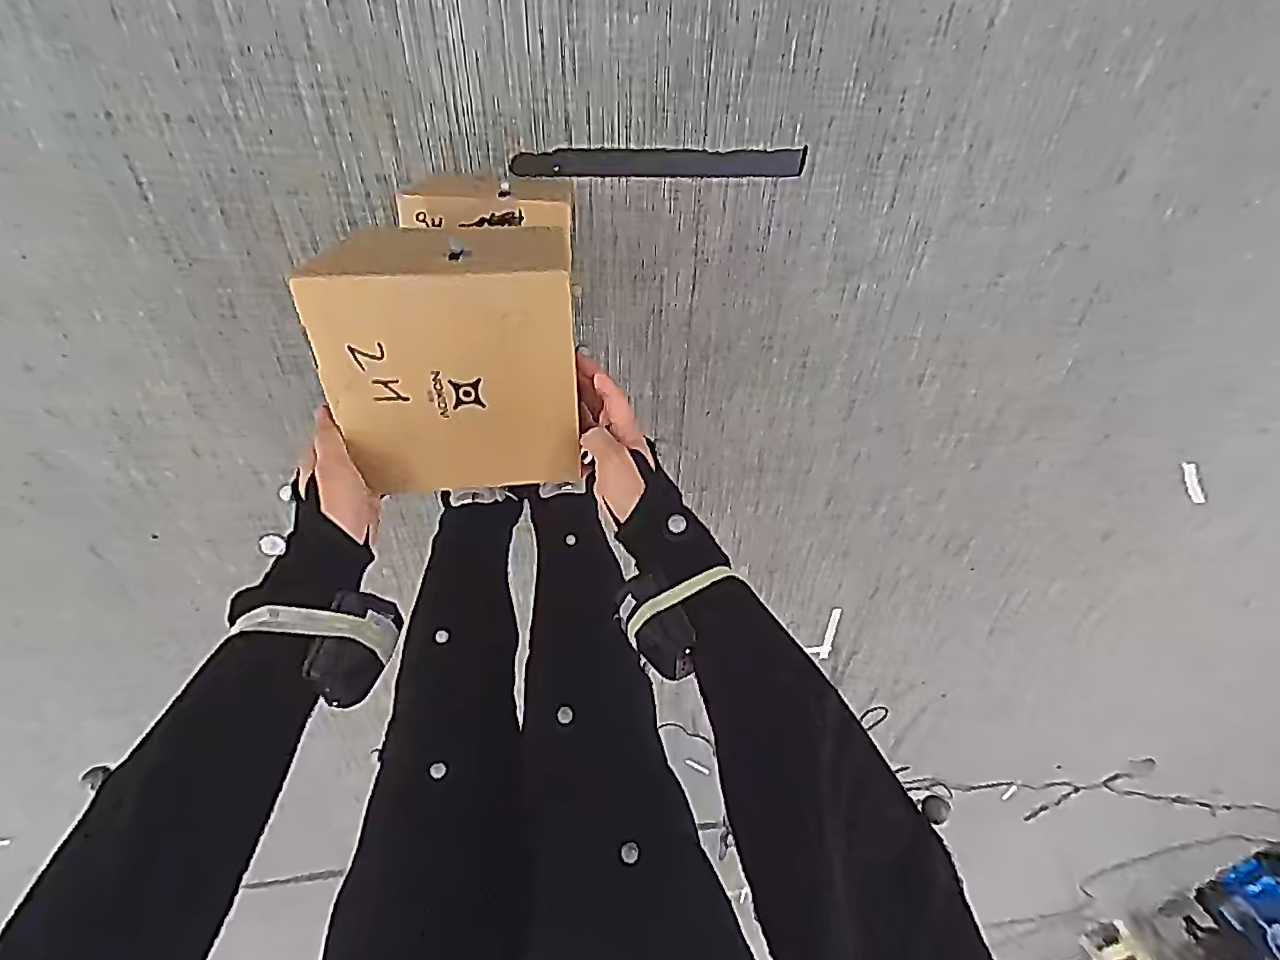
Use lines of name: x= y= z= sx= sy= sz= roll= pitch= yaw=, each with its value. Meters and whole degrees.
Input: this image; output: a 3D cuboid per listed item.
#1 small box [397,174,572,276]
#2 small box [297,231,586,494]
small box: x=-0.163 y=-0.241 z=0.628 sx=0.168 sy=0.176 sz=0.179 roll=-1 pitch=126 yaw=-8
small box: x=-0.142 y=-0.107 z=0.454 sx=0.179 sy=0.176 sz=0.168 roll=-4 pitch=123 yaw=-7
